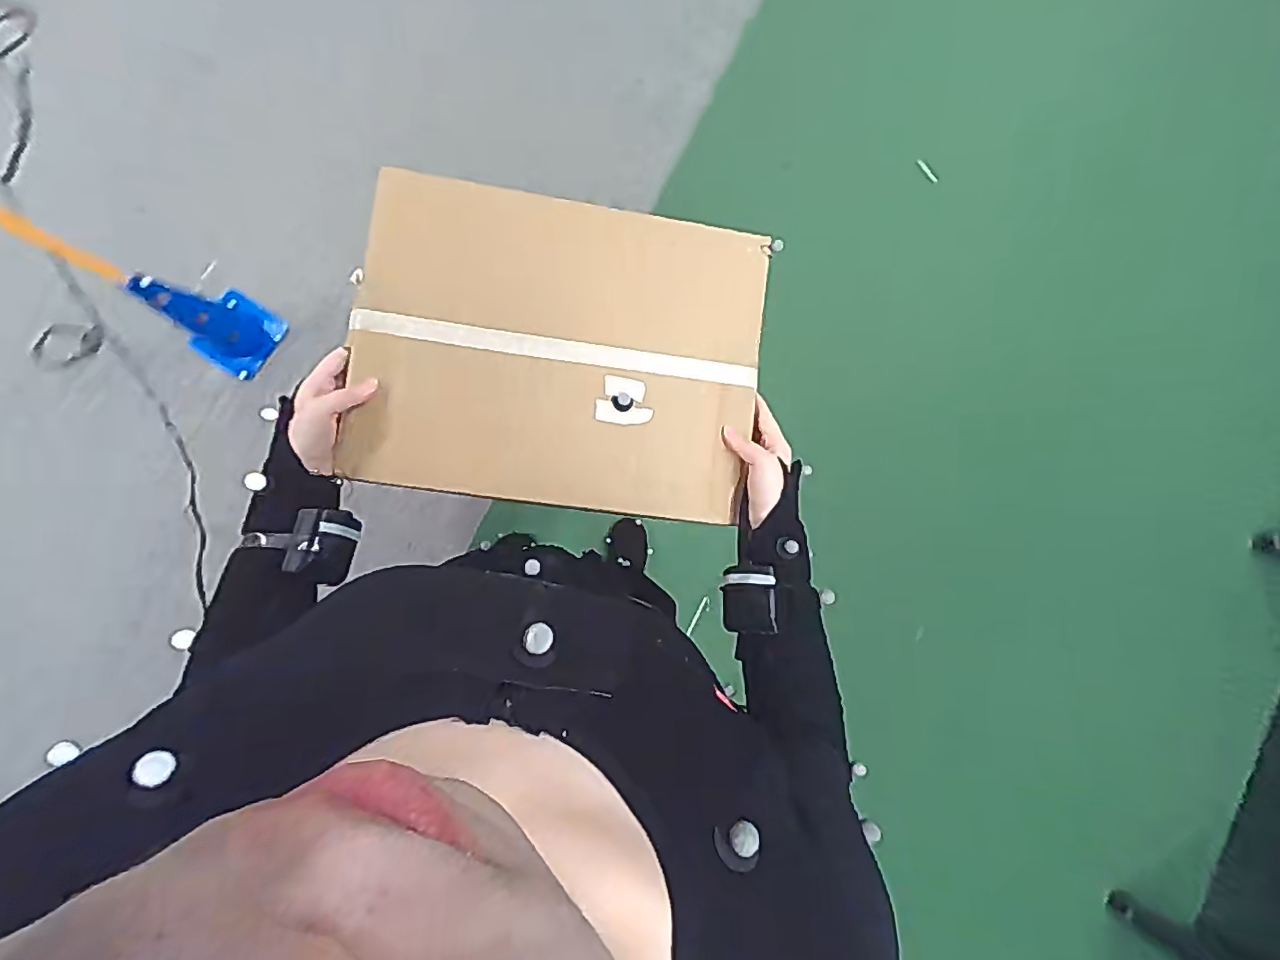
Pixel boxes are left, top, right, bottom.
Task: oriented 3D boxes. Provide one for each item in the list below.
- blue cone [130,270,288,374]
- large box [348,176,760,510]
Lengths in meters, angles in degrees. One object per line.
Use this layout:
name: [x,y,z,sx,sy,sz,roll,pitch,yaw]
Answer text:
blue cone: [-1.081,-0.419,1.323,0.192,0.380,0.193,36,85,-2]
large box: [-0.097,-0.129,0.702,0.408,0.320,0.320,6,87,-8]
